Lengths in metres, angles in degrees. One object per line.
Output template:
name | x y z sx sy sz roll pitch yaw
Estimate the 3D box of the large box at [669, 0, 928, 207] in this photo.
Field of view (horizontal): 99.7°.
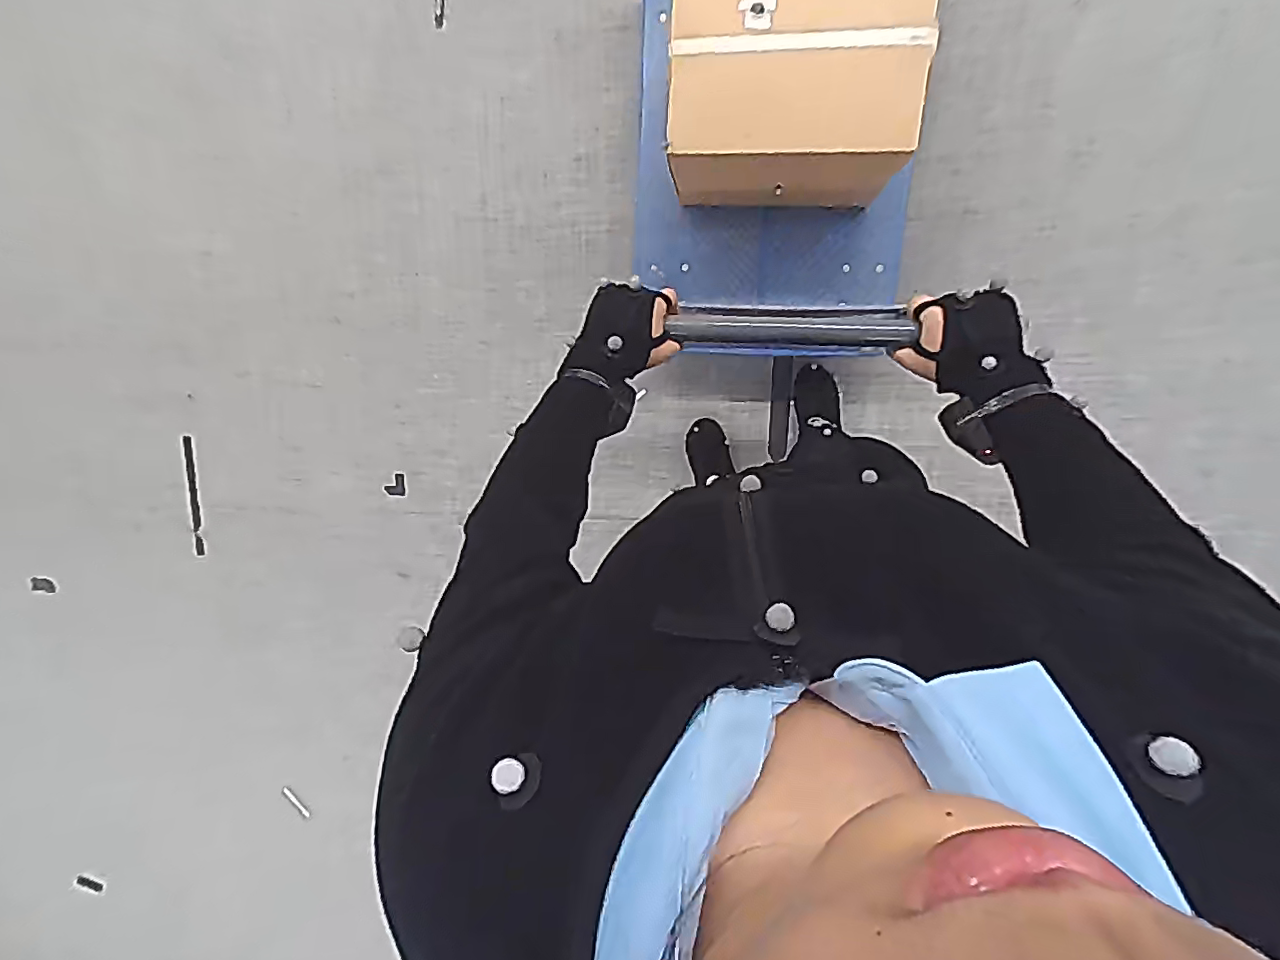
large box | 0.277 -0.724 1.024 0.408 0.320 0.320 4 101 9
